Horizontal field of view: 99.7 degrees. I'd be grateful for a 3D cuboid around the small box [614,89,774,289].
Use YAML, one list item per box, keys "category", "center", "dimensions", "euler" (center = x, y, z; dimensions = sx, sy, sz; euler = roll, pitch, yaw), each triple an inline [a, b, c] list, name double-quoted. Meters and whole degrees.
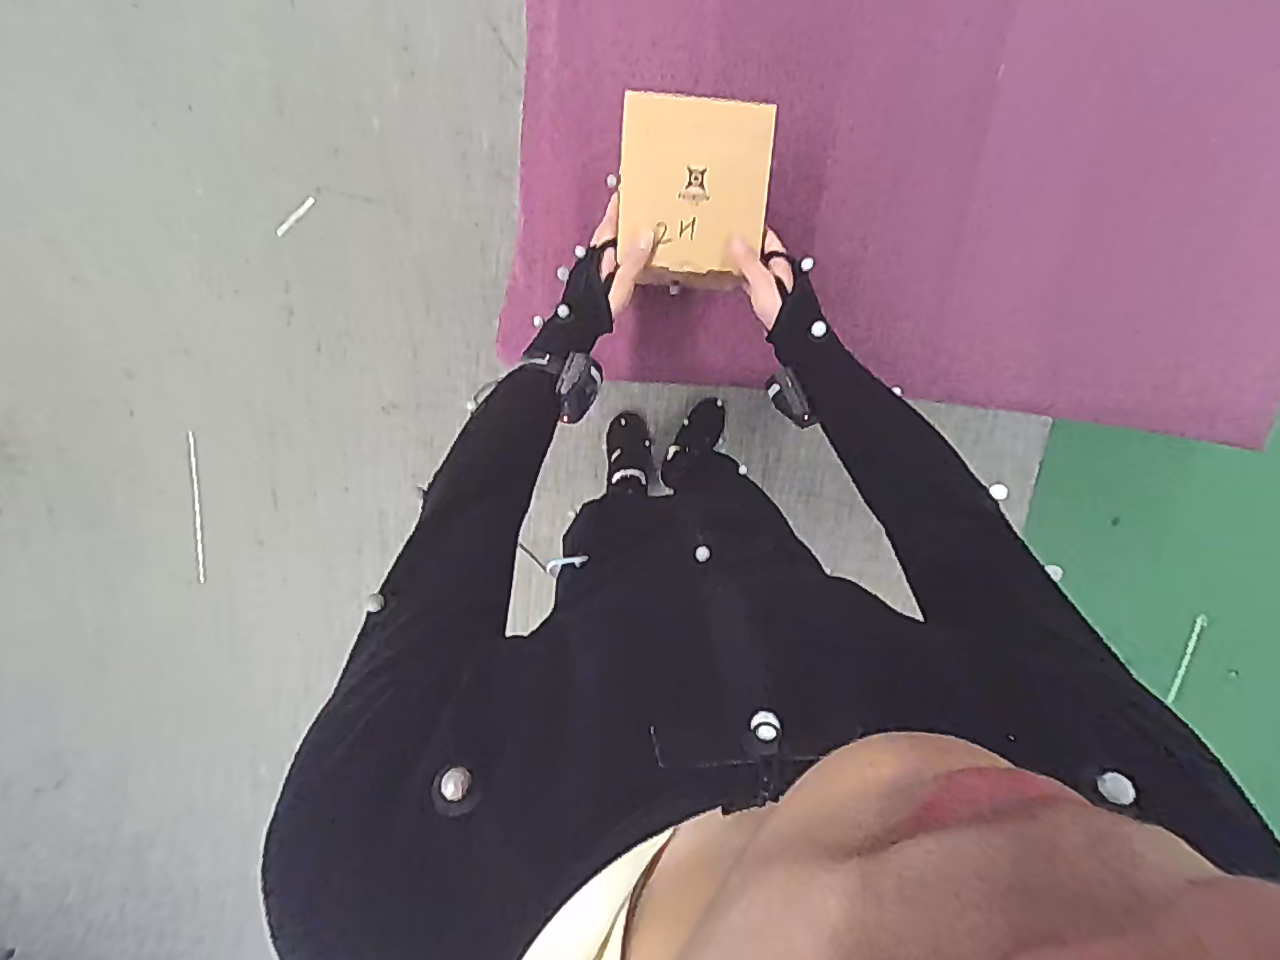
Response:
- category: "small box"
  center: [0.055, -0.345, 0.674]
  dimensions: [0.168, 0.176, 0.179]
  euler: [3, 104, -3]
